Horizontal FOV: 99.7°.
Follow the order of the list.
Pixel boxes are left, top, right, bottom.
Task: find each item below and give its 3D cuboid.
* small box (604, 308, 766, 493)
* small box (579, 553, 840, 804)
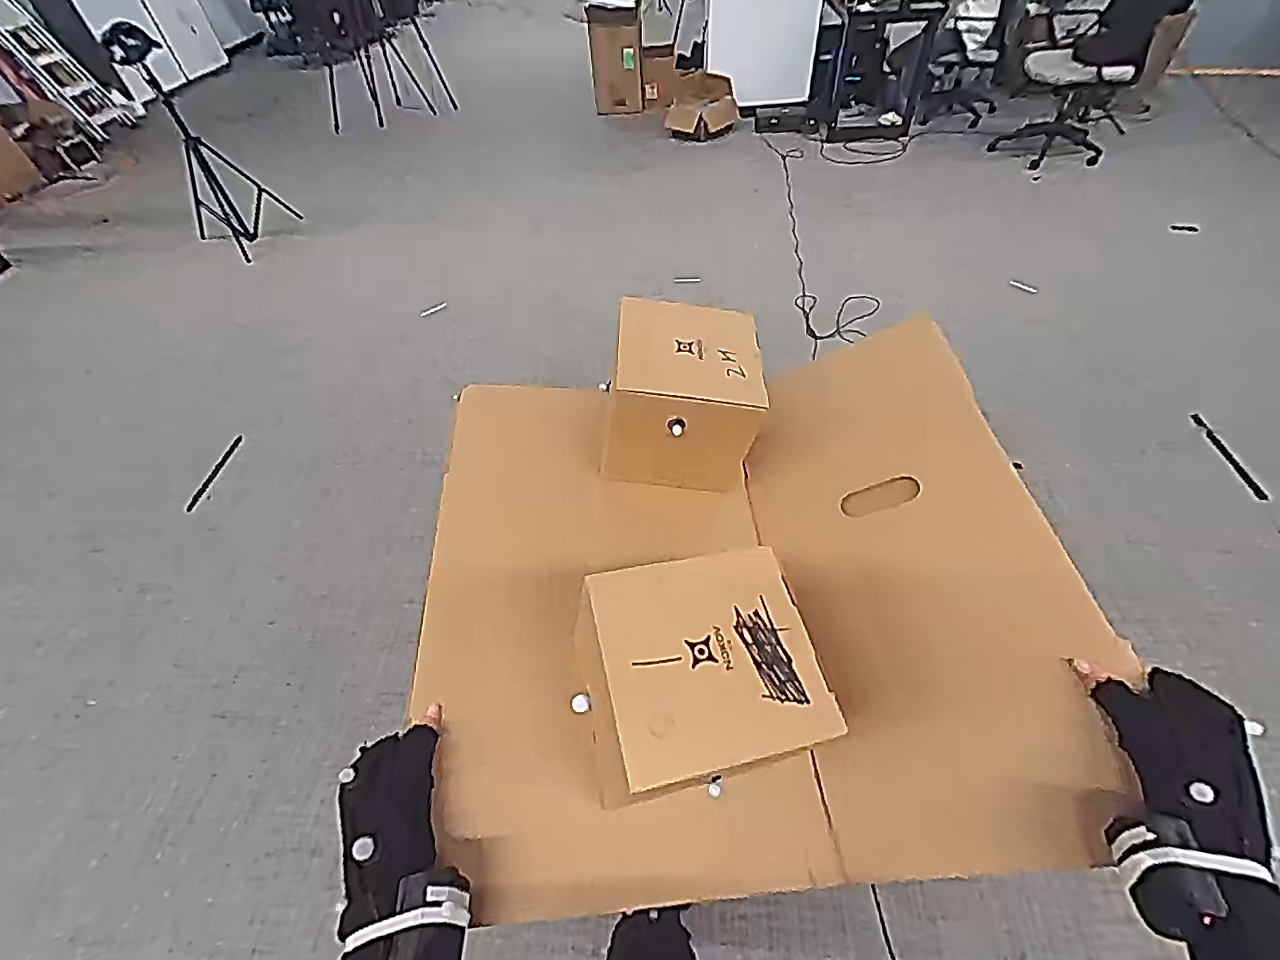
[{"bbox_3d":[0.049,-0.098,0.714,0.179,0.176,0.168,7,54,-7],"label":"small box"},{"bbox_3d":[0.046,0.188,0.508,0.179,0.176,0.168,-7,57,-15],"label":"small box"}]
